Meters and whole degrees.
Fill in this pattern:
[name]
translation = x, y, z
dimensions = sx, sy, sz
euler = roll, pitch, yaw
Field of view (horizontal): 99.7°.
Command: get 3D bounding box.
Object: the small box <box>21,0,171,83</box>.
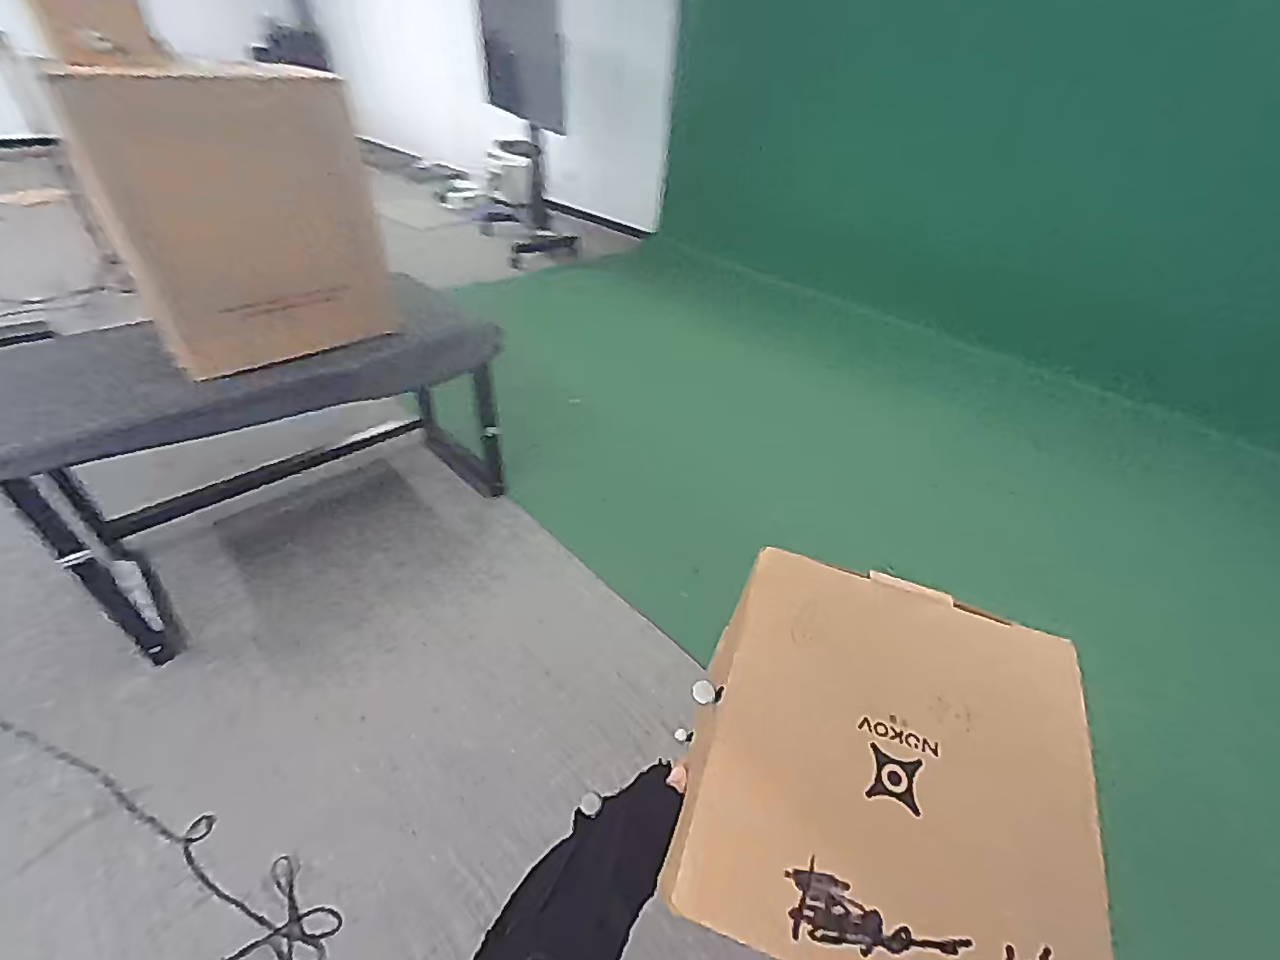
[small box]
translation = -1.077, -0.894, 1.060
dimensions = 0.179, 0.176, 0.168
euler = 35, 51, 29
